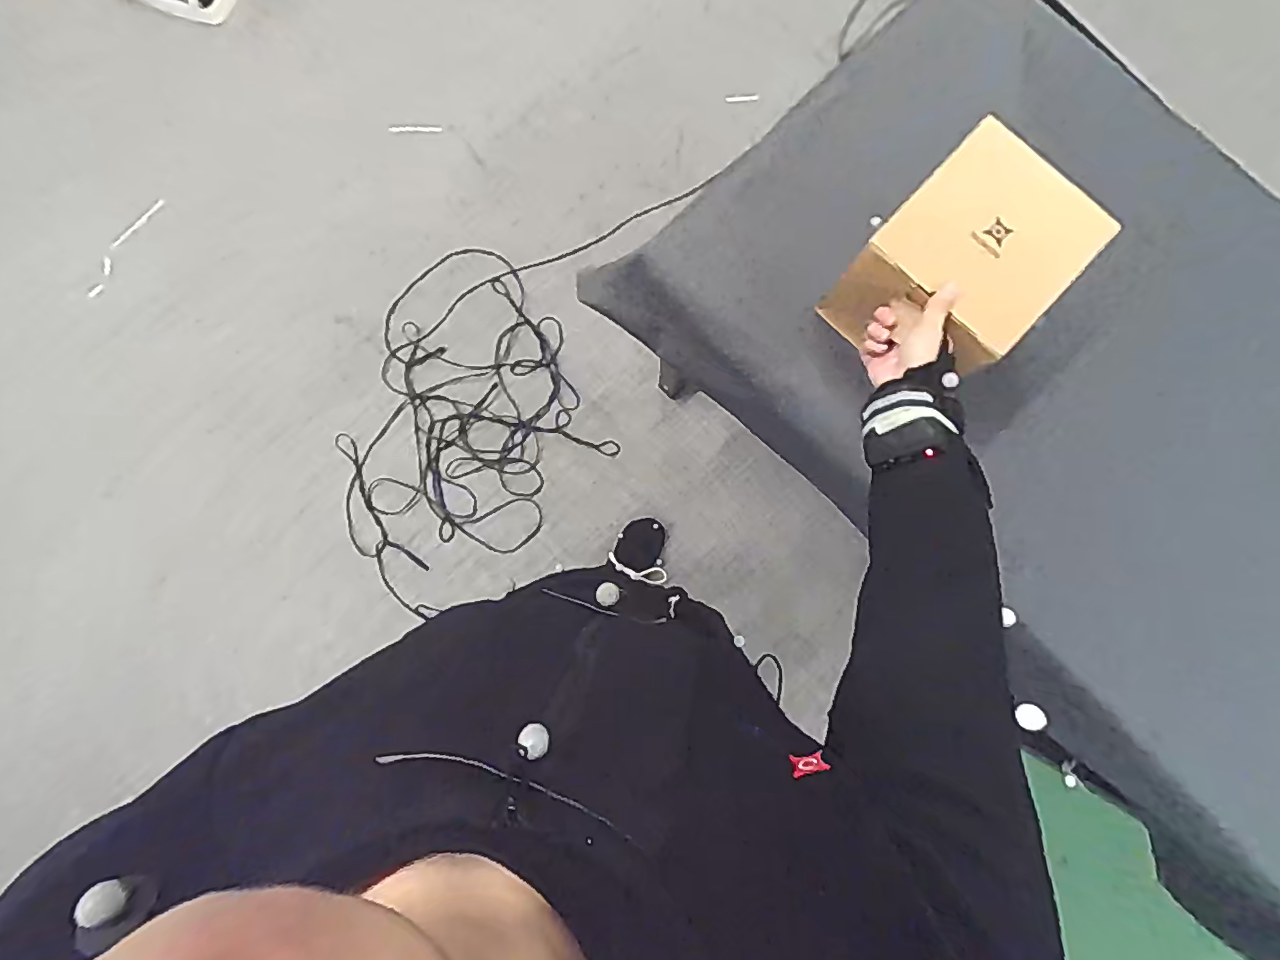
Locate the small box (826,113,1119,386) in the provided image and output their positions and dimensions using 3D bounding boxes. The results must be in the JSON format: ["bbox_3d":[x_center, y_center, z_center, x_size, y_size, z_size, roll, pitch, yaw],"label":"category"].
[{"bbox_3d":[0.336,-0.230,0.587,0.168,0.176,0.179,43,88,2],"label":"small box"}]
